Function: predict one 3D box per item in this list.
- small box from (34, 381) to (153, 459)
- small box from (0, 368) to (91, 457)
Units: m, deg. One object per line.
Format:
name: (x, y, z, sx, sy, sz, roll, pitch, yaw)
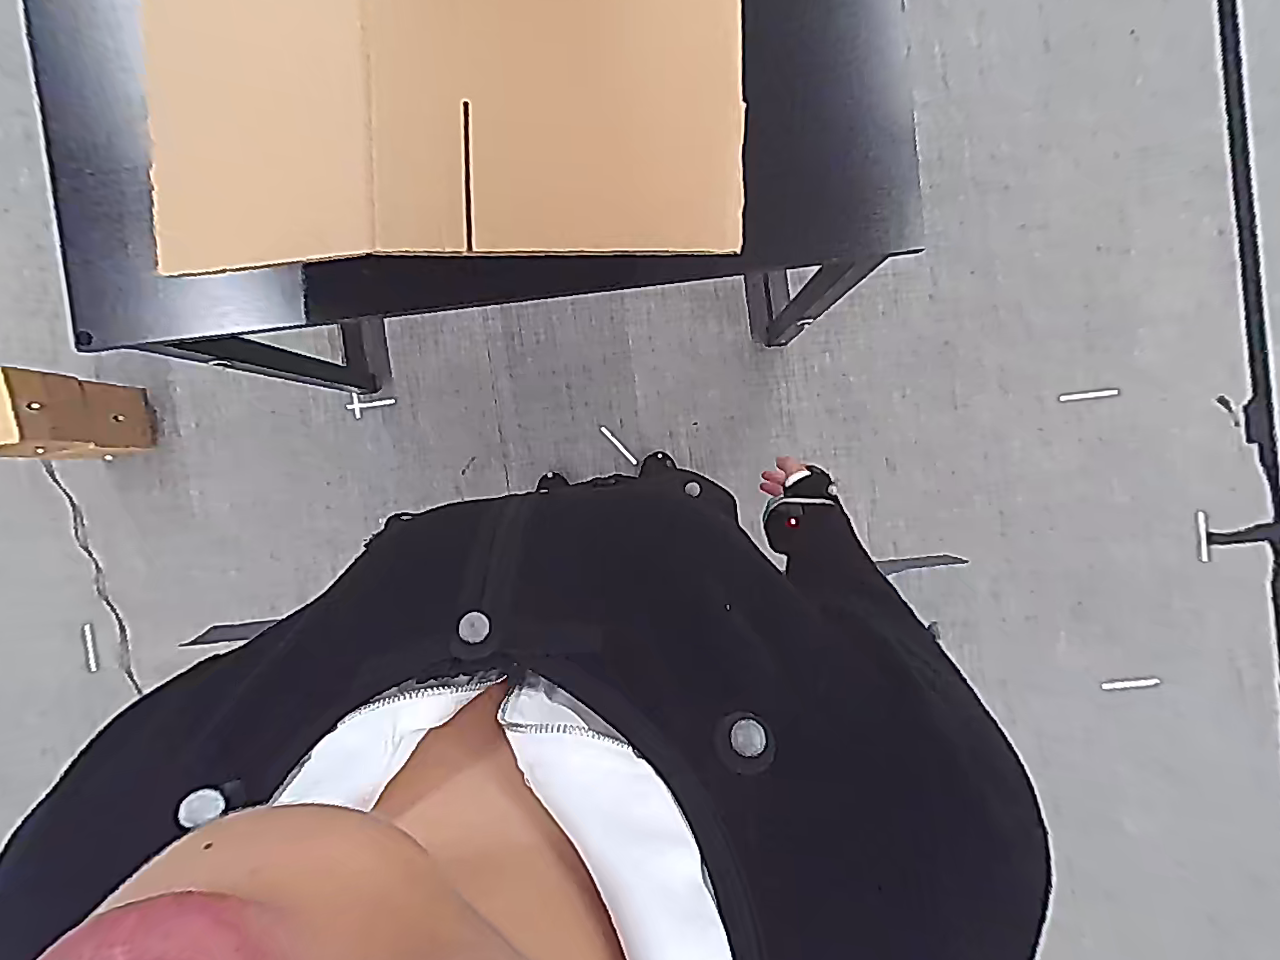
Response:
small box: (-1.461, -0.153, 1.439, 0.168, 0.176, 0.179, -10, 93, 2)
small box: (-1.466, -0.152, 1.276, 0.168, 0.176, 0.179, -13, 91, 1)
